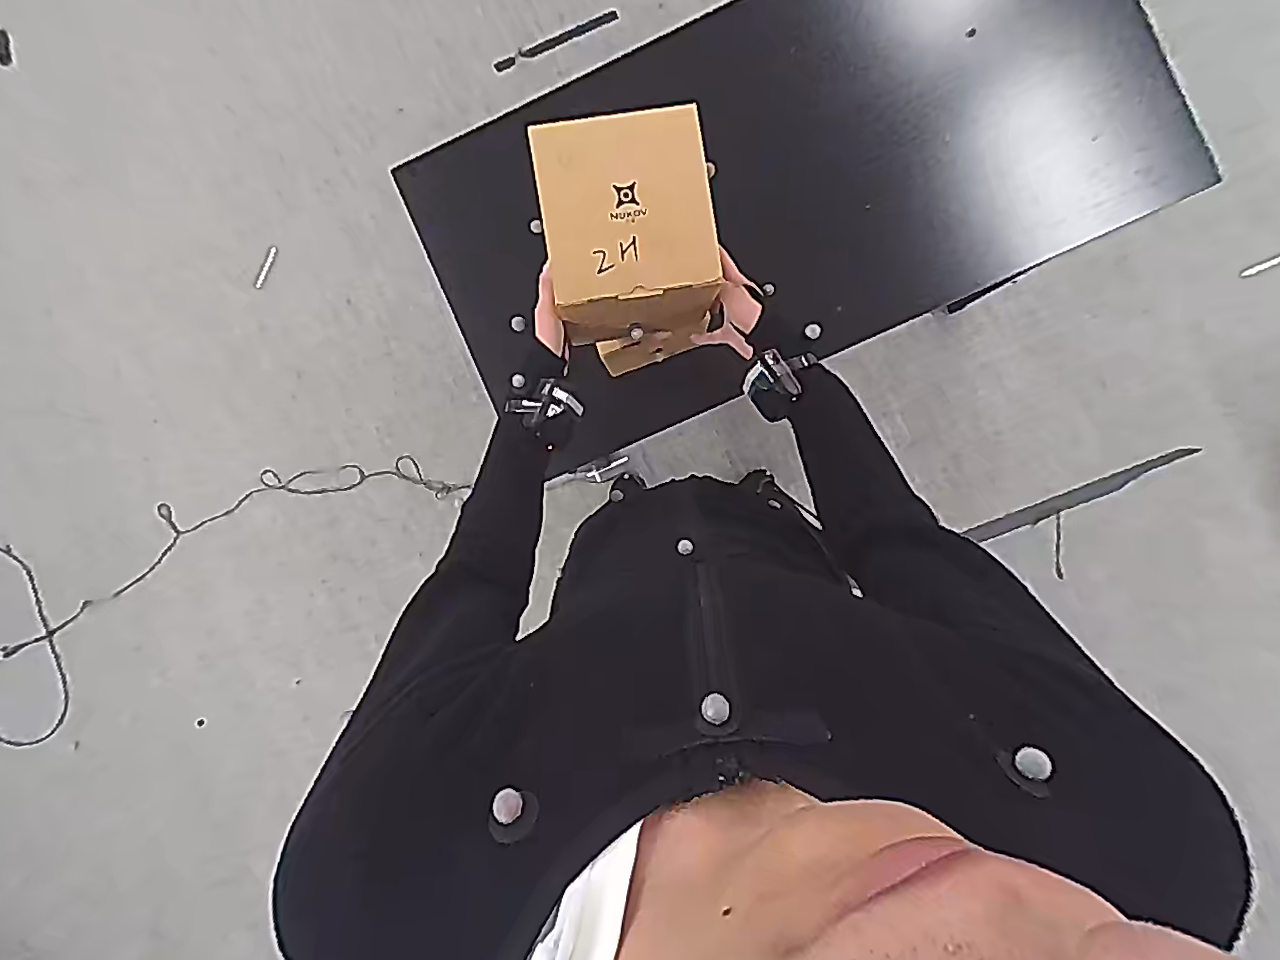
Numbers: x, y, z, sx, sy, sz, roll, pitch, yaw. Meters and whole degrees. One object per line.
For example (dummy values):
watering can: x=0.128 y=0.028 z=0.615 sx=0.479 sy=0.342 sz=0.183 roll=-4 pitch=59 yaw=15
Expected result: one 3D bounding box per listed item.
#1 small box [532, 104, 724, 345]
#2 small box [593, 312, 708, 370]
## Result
small box: x=-0.015 y=-0.262 z=0.590 sx=0.168 sy=0.176 sz=0.179 roll=-9 pitch=91 yaw=-1
small box: x=-0.003 y=-0.277 z=0.823 sx=0.168 sy=0.176 sz=0.179 roll=-20 pitch=90 yaw=4
